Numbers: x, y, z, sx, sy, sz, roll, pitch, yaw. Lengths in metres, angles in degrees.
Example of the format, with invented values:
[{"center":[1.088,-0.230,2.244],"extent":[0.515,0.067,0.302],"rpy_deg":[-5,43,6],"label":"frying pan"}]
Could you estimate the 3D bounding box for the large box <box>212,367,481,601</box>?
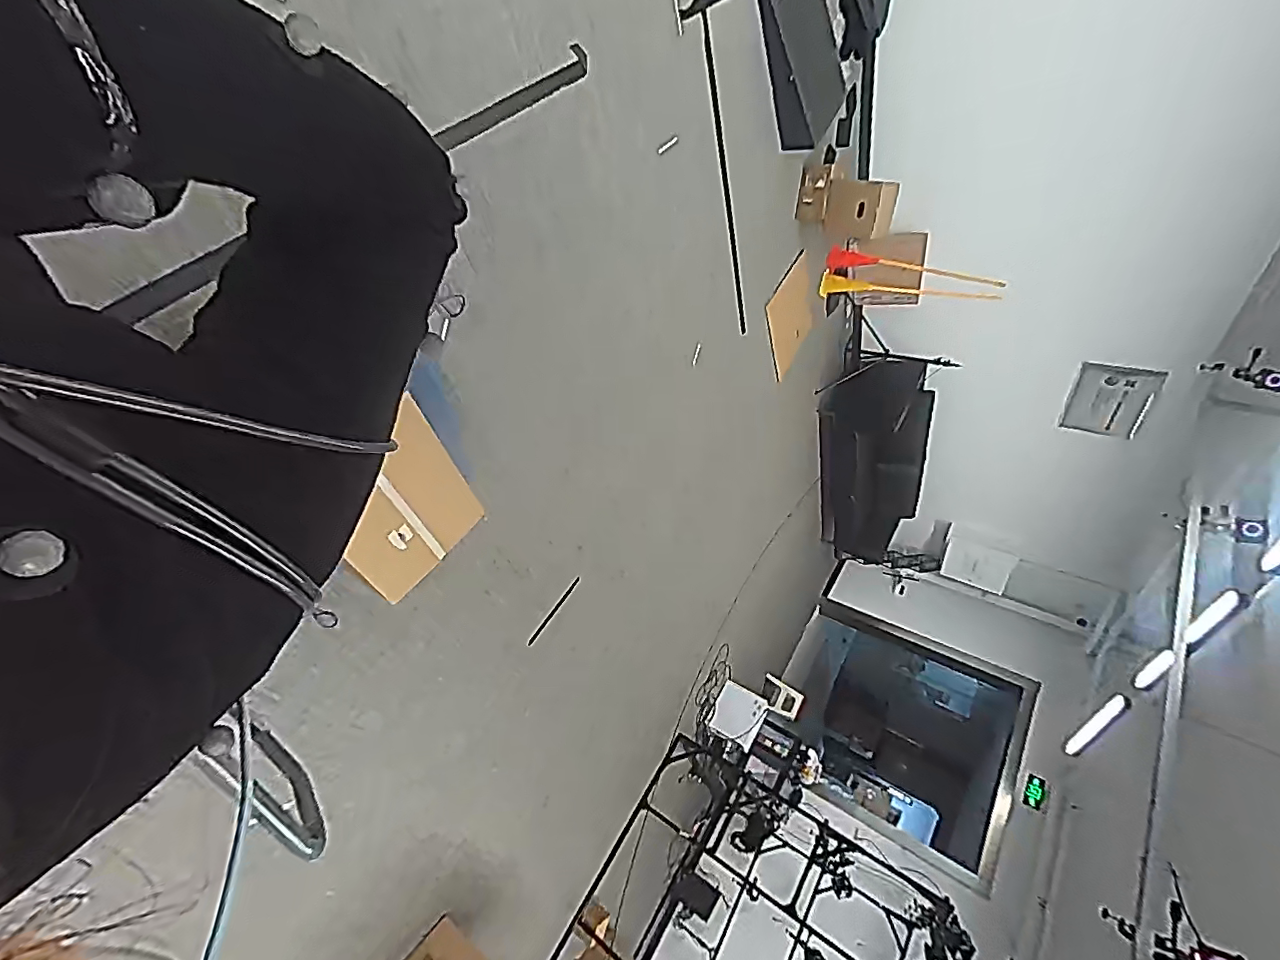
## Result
[{"center":[-0.657,0.006,1.260],"extent":[0.320,0.320,0.408],"rpy_deg":[-49,143,-29],"label":"large box"}]
